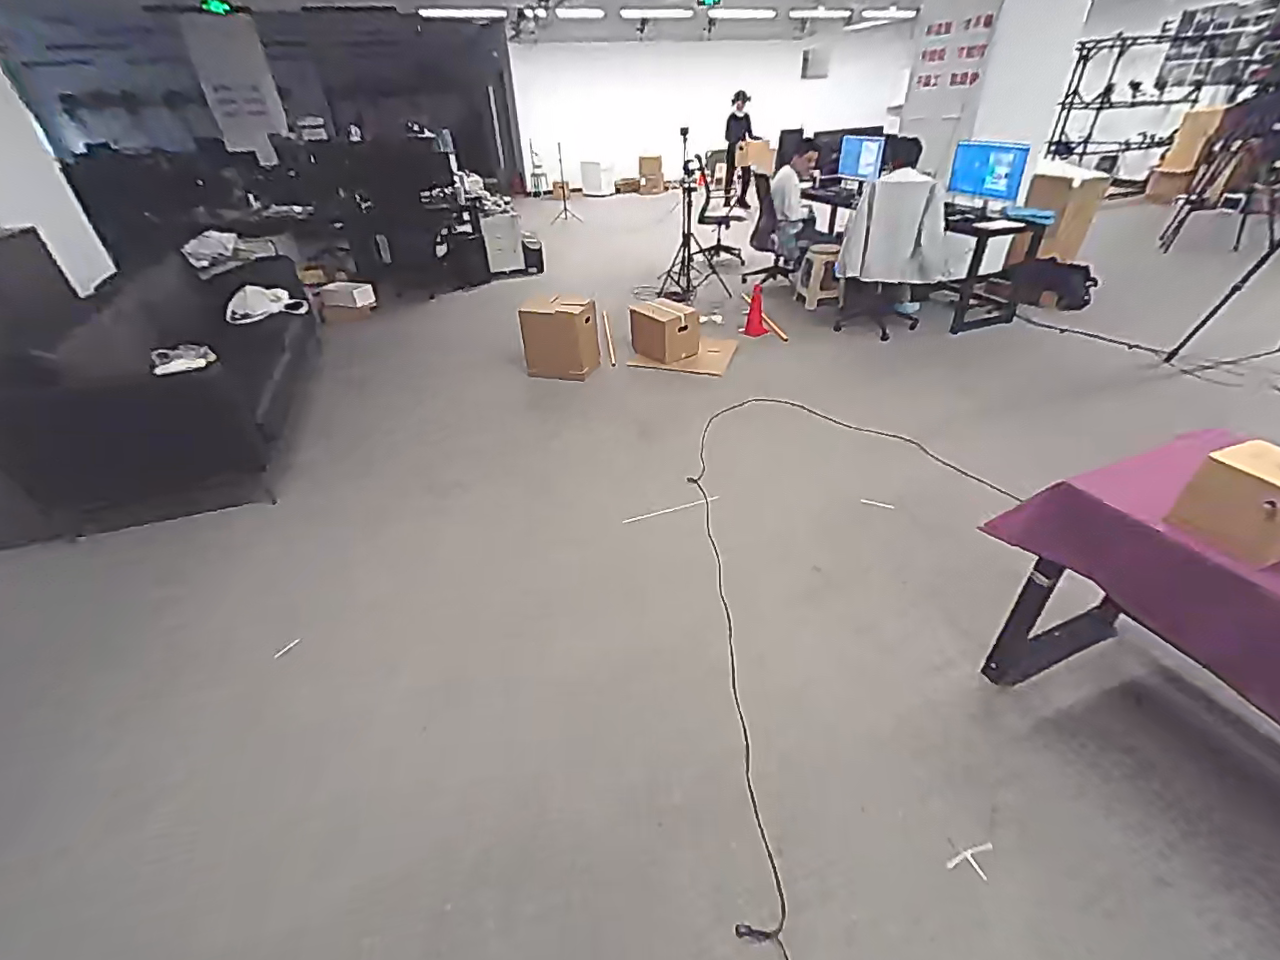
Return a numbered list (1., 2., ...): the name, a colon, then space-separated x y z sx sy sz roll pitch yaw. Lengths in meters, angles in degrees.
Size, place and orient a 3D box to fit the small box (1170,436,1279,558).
1. small box: 1.242 0.038 1.080 0.168 0.176 0.179 -13 36 -15
